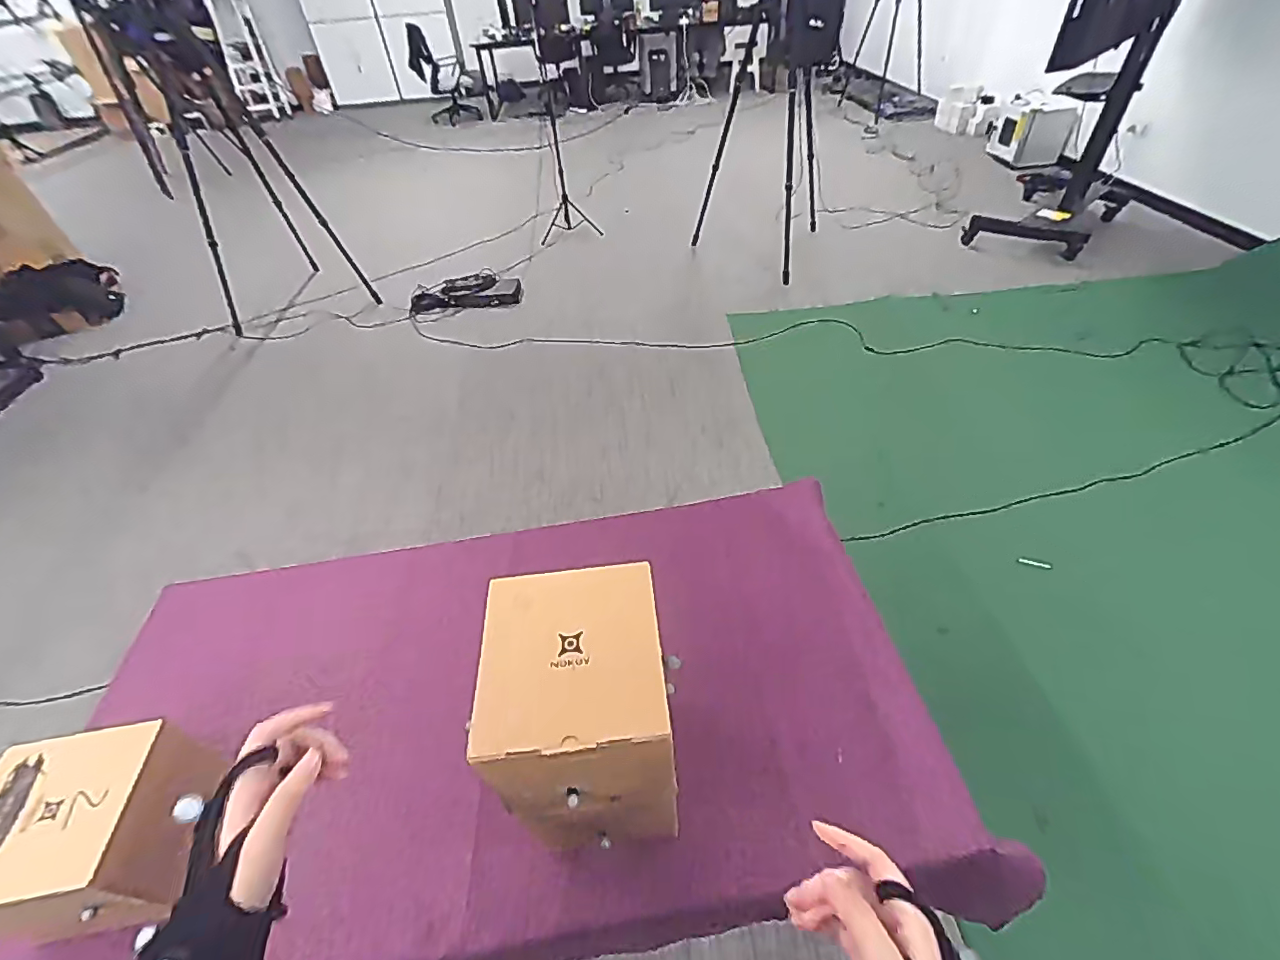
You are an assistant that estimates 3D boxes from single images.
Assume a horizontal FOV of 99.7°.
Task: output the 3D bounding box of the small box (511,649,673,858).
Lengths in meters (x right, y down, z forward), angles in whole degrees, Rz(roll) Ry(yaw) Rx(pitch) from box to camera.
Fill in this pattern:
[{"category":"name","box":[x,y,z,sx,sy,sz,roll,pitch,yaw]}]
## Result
[{"category":"small box","box":[-0.051,0.332,0.659,0.168,0.176,0.179,-7,45,-1]}]
